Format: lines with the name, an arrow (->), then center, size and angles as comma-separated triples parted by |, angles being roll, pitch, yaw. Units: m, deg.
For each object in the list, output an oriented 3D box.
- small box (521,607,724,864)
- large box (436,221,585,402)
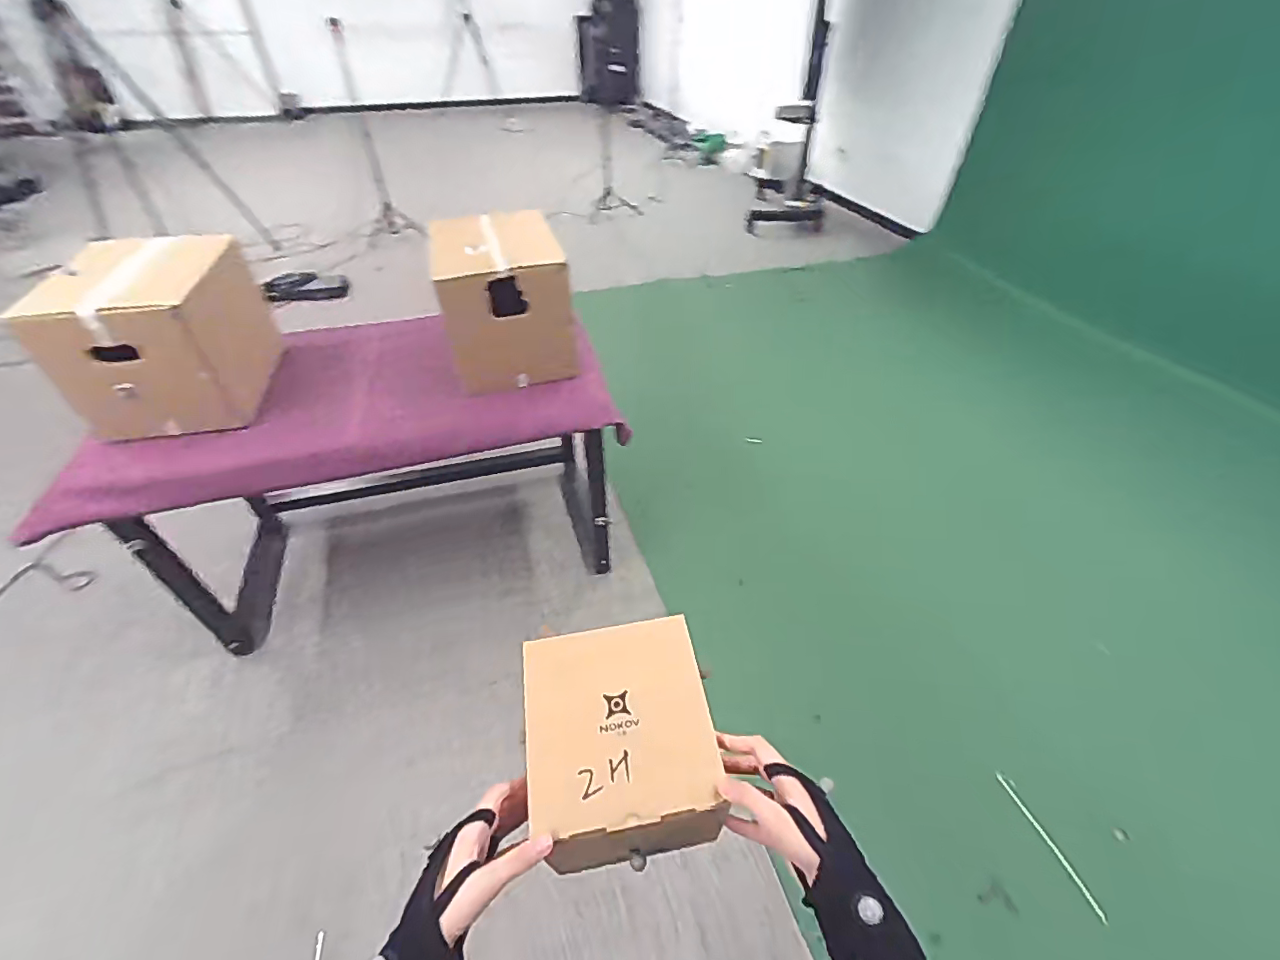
small box -> -0.024, 0.257, 0.547 | 0.168, 0.176, 0.179 | -9, 47, -6
large box -> -0.350, -0.469, 1.470 | 0.320, 0.320, 0.408 | -13, 45, -11
